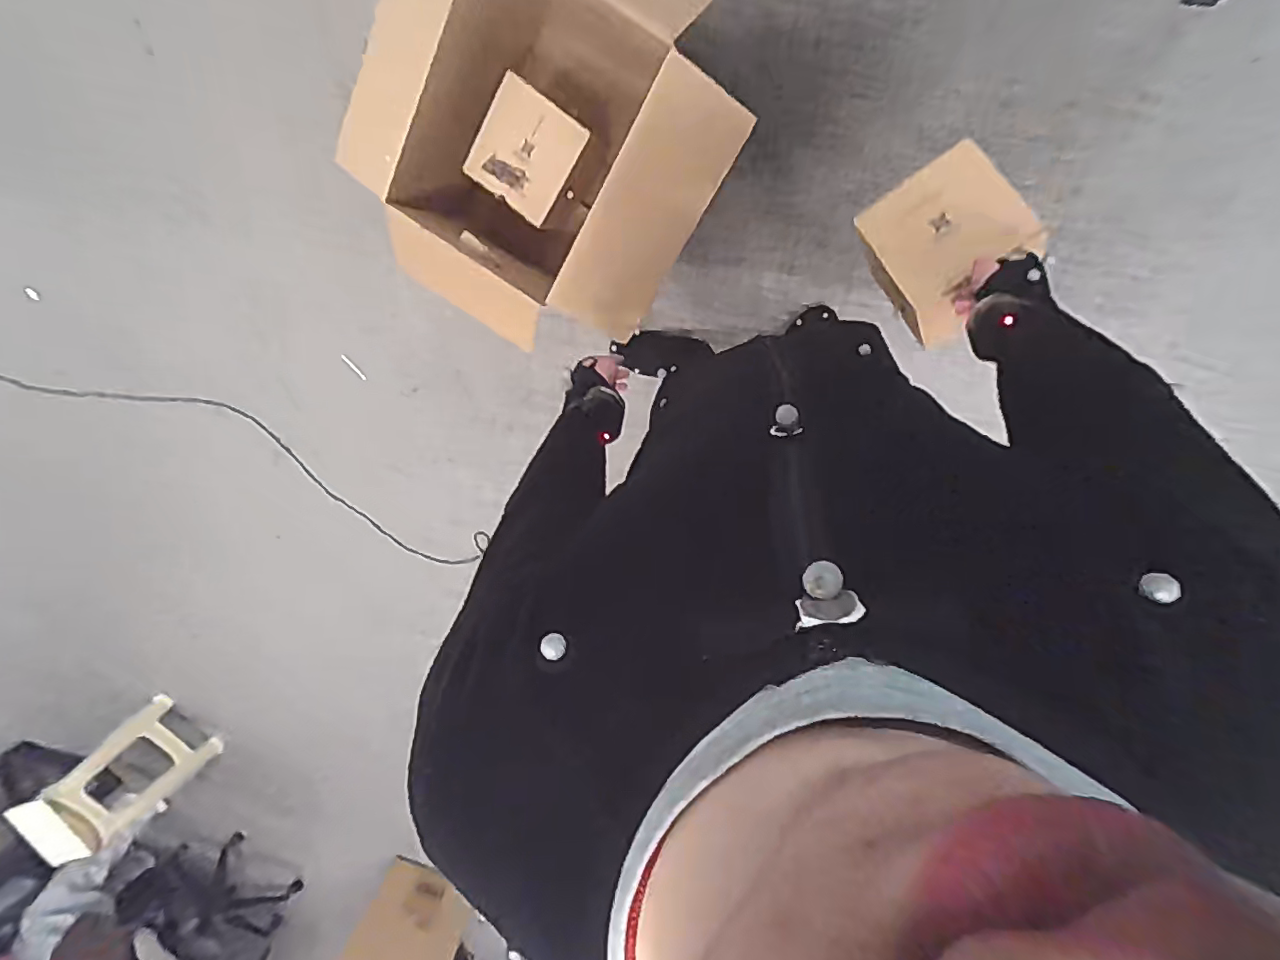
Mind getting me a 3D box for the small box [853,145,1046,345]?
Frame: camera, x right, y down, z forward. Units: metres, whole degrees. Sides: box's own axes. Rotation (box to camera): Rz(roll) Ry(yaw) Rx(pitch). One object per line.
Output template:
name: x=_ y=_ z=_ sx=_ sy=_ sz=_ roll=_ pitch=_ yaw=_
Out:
small box: x=0.438 y=-0.317 z=0.776 sx=0.168 sy=0.176 sz=0.179 roll=-32 pitch=65 yaw=23
